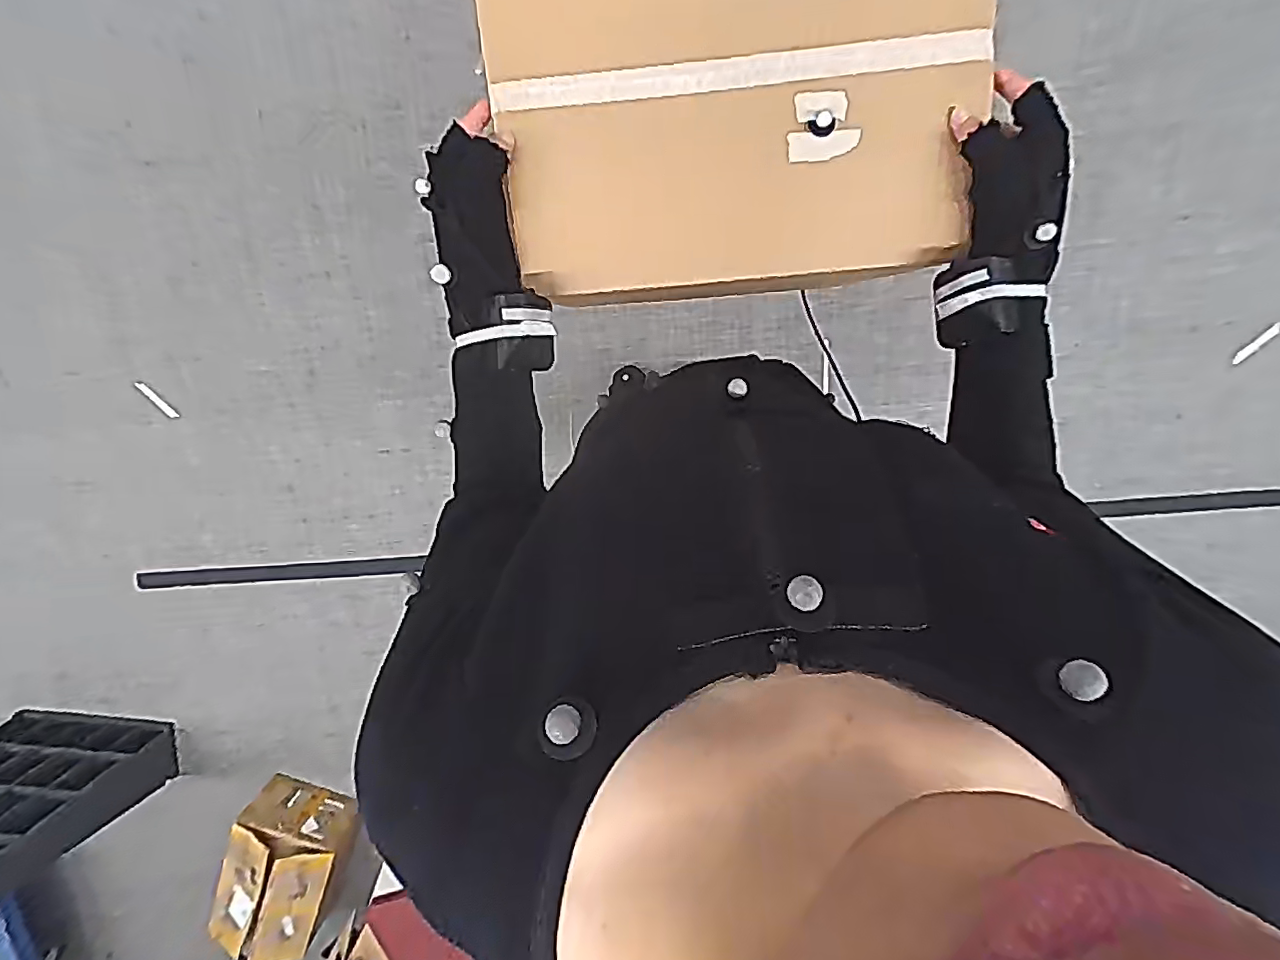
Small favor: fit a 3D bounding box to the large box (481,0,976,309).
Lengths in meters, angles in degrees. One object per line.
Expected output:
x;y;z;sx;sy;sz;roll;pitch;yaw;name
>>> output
0.075;-0.375;0.595;0.408;0.320;0.320;-4;106;2;large box
